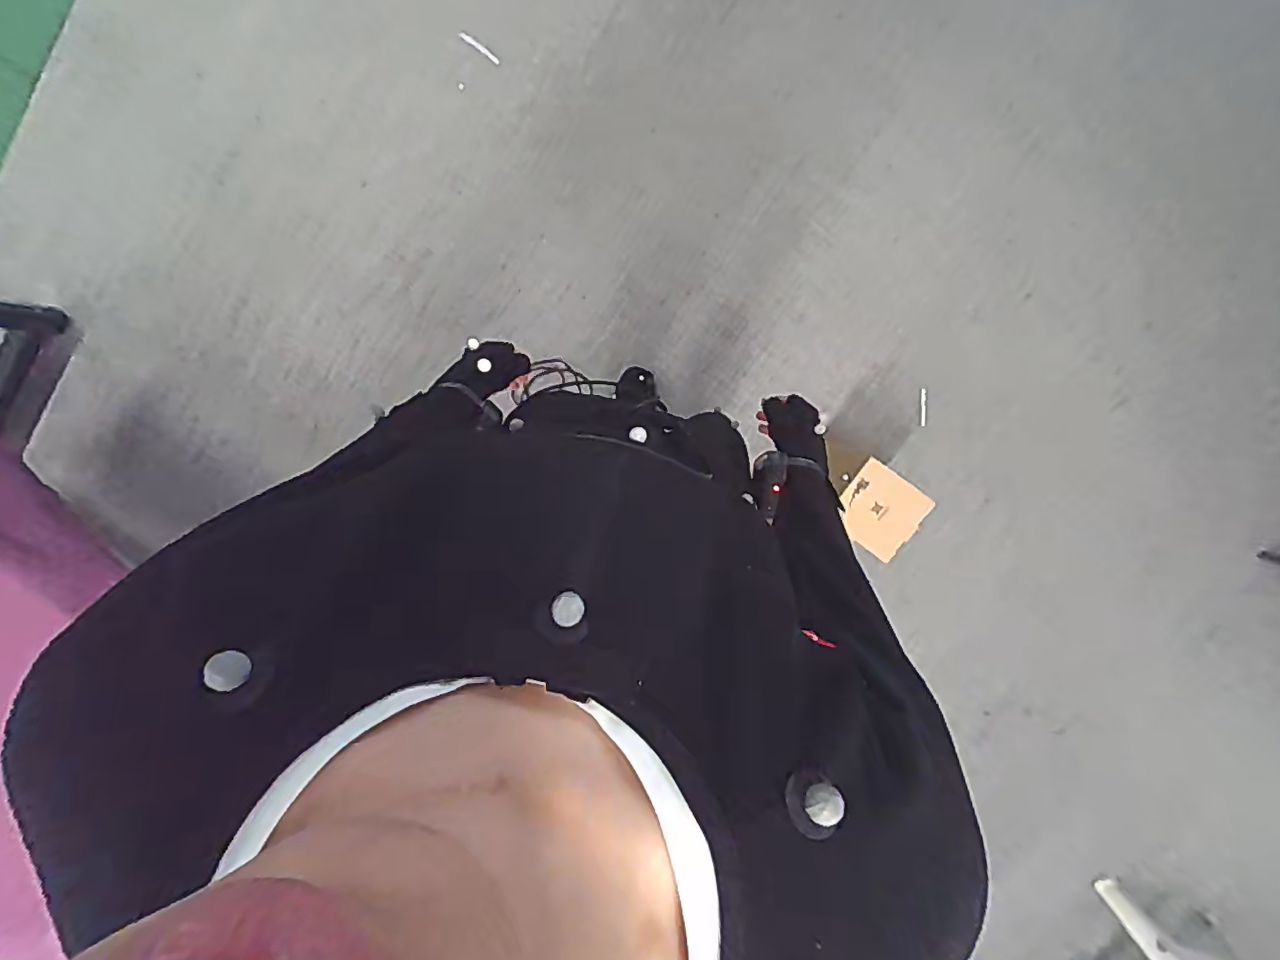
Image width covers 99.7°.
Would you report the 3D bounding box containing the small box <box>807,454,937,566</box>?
[{"bbox_3d":[0.508,0.058,1.210,0.179,0.176,0.168,35,99,-4],"label":"small box"}]
